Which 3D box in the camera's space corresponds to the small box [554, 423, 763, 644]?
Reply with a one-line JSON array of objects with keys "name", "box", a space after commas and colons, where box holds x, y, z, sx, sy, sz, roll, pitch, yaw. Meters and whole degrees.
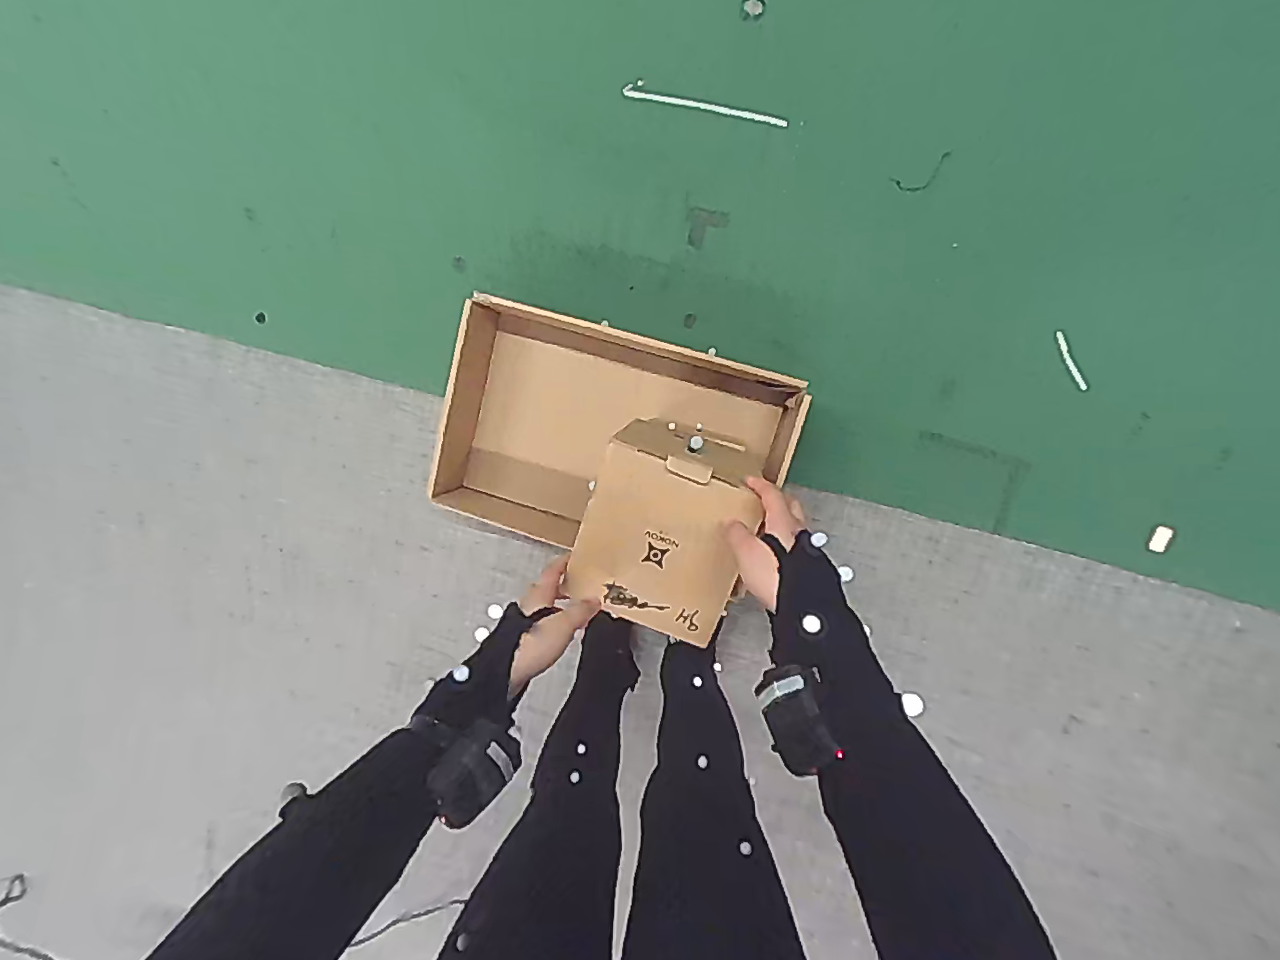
[{"name": "small box", "box": [0.022, 0.045, 0.612, 0.168, 0.176, 0.179, 20, 104, 3]}]
